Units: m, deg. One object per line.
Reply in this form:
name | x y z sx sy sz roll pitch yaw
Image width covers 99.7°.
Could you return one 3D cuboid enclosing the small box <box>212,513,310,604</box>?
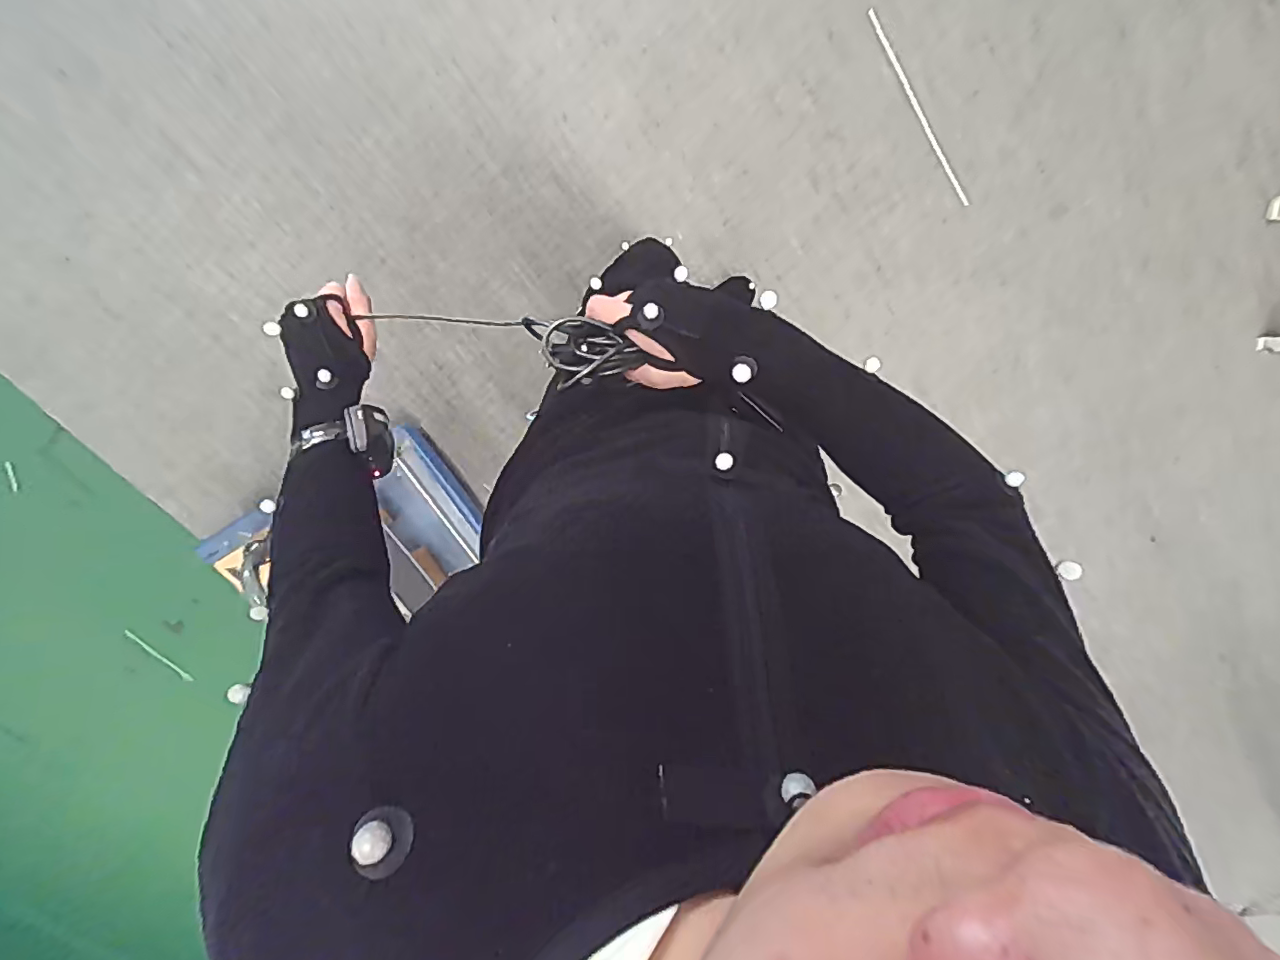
small box | -1.083 0.226 1.589 0.179 0.176 0.168 -27 111 14
